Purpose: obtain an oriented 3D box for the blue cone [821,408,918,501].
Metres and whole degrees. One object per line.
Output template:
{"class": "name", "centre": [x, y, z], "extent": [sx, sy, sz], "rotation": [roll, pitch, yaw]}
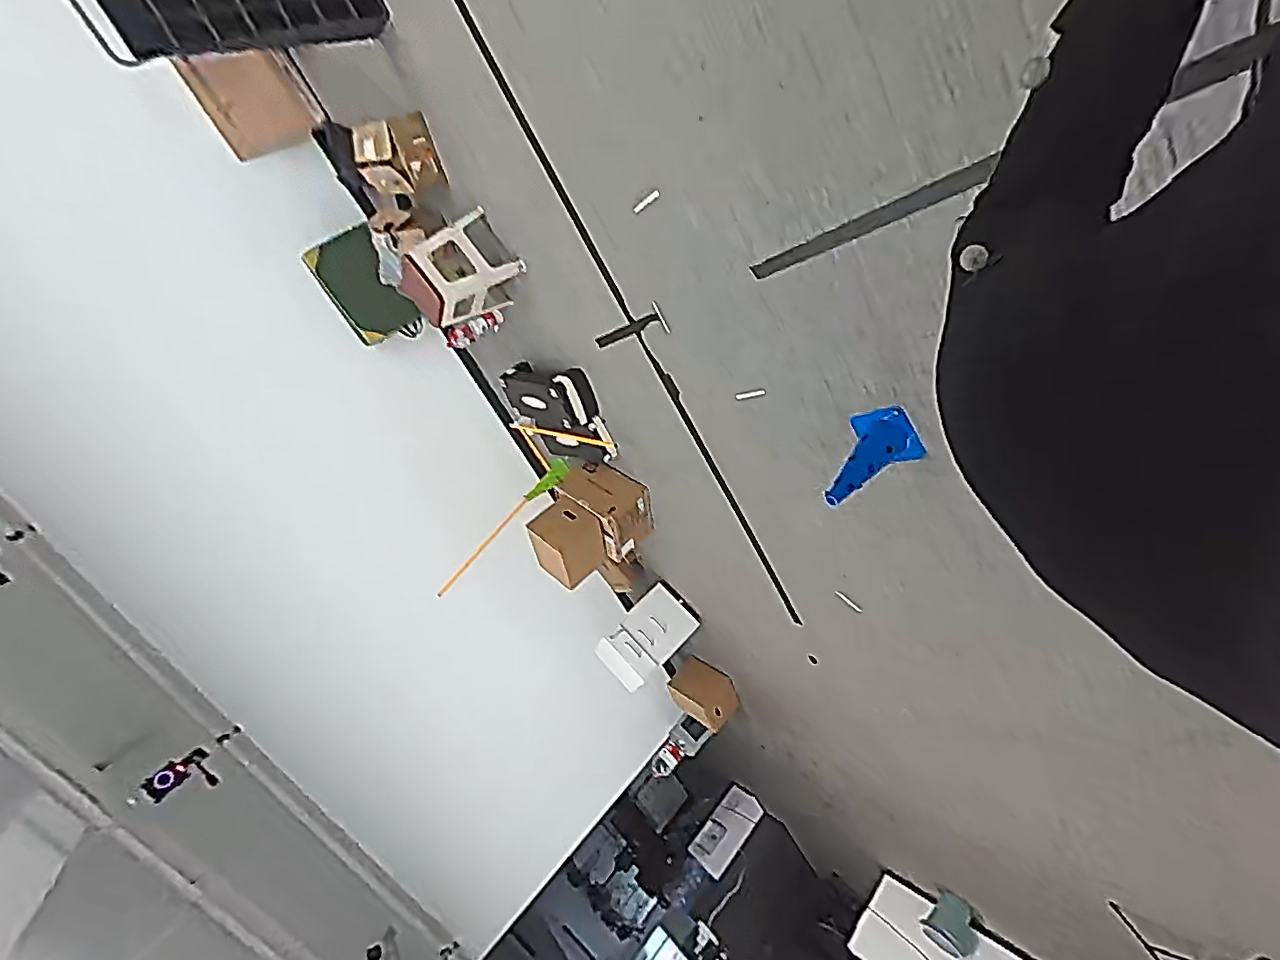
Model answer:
{"class": "blue cone", "centre": [0.691, -0.048, 1.708], "extent": [0.192, 0.380, 0.193], "rotation": [57, 152, -13]}
